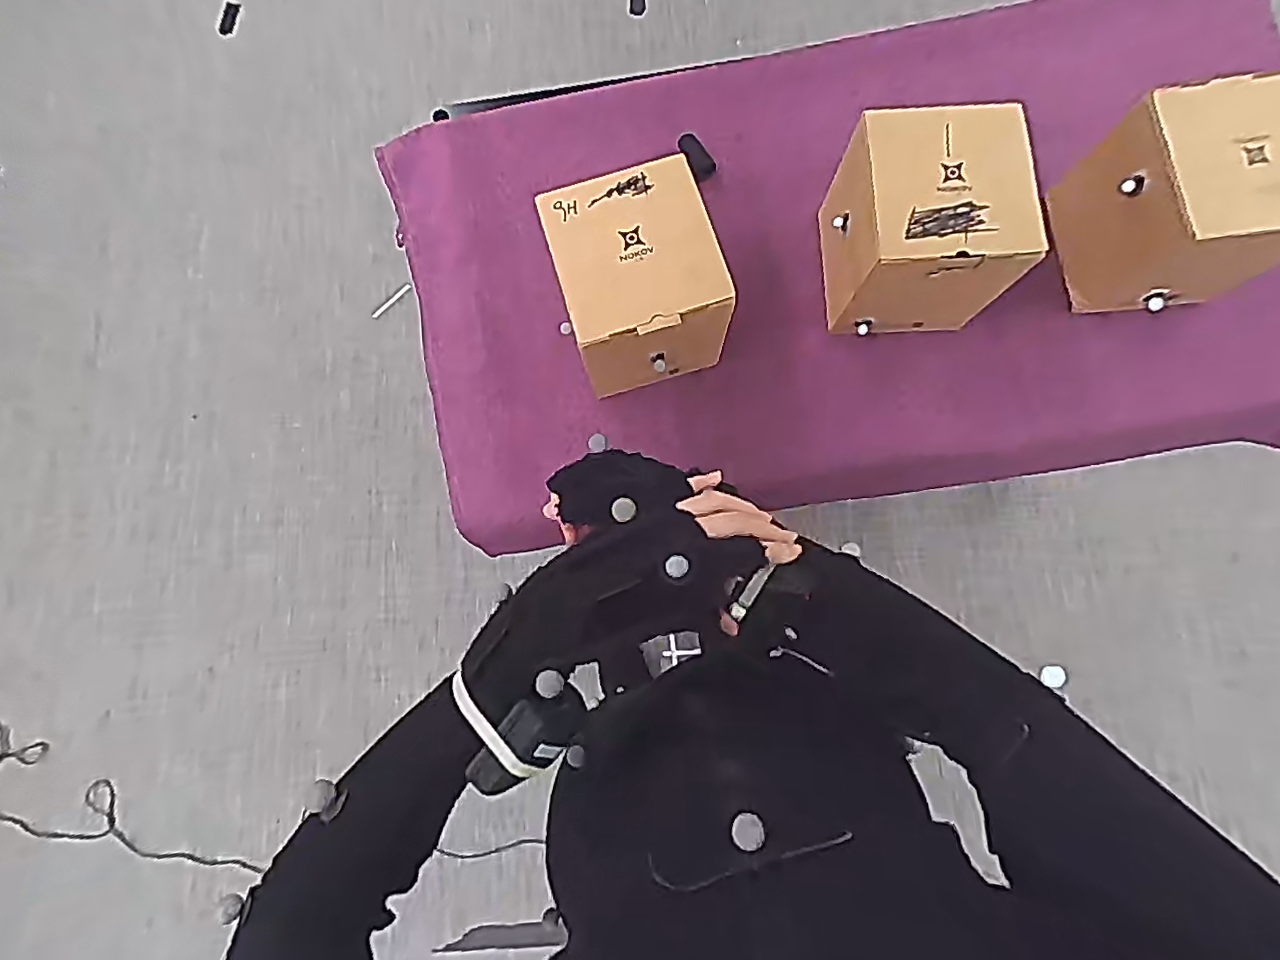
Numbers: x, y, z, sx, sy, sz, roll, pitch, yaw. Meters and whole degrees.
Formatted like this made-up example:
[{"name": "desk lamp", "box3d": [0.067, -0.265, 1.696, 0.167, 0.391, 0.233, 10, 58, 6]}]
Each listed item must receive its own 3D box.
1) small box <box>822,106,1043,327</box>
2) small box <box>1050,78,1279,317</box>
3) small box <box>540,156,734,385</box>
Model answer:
[{"name": "small box", "box3d": [0.321, -0.290, 0.632, 0.168, 0.176, 0.179, -1, 79, 2]}, {"name": "small box", "box3d": [0.623, -0.314, 0.626, 0.168, 0.176, 0.179, -6, 80, 3]}, {"name": "small box", "box3d": [-0.002, -0.225, 0.631, 0.168, 0.176, 0.179, -17, 80, -1]}]
